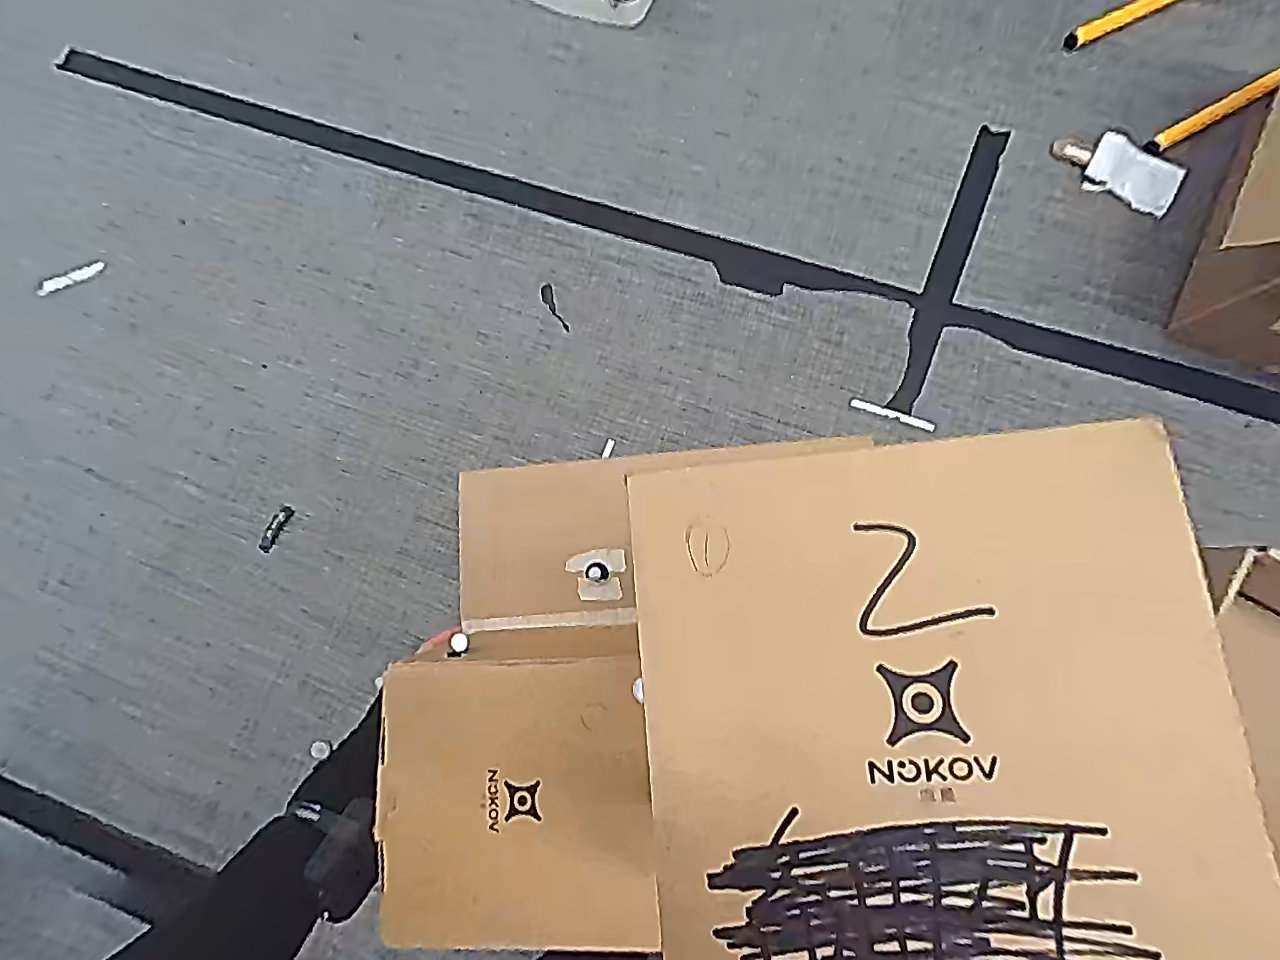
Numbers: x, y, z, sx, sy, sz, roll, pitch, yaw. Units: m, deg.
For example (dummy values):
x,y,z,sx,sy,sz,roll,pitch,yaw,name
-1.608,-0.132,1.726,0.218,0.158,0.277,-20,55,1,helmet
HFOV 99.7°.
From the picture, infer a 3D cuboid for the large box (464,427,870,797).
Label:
x,y,z,sx,sy,sz,roll,pitch,yaw,name
0.050,0.144,0.652,0.408,0.320,0.320,-6,80,7,large box
